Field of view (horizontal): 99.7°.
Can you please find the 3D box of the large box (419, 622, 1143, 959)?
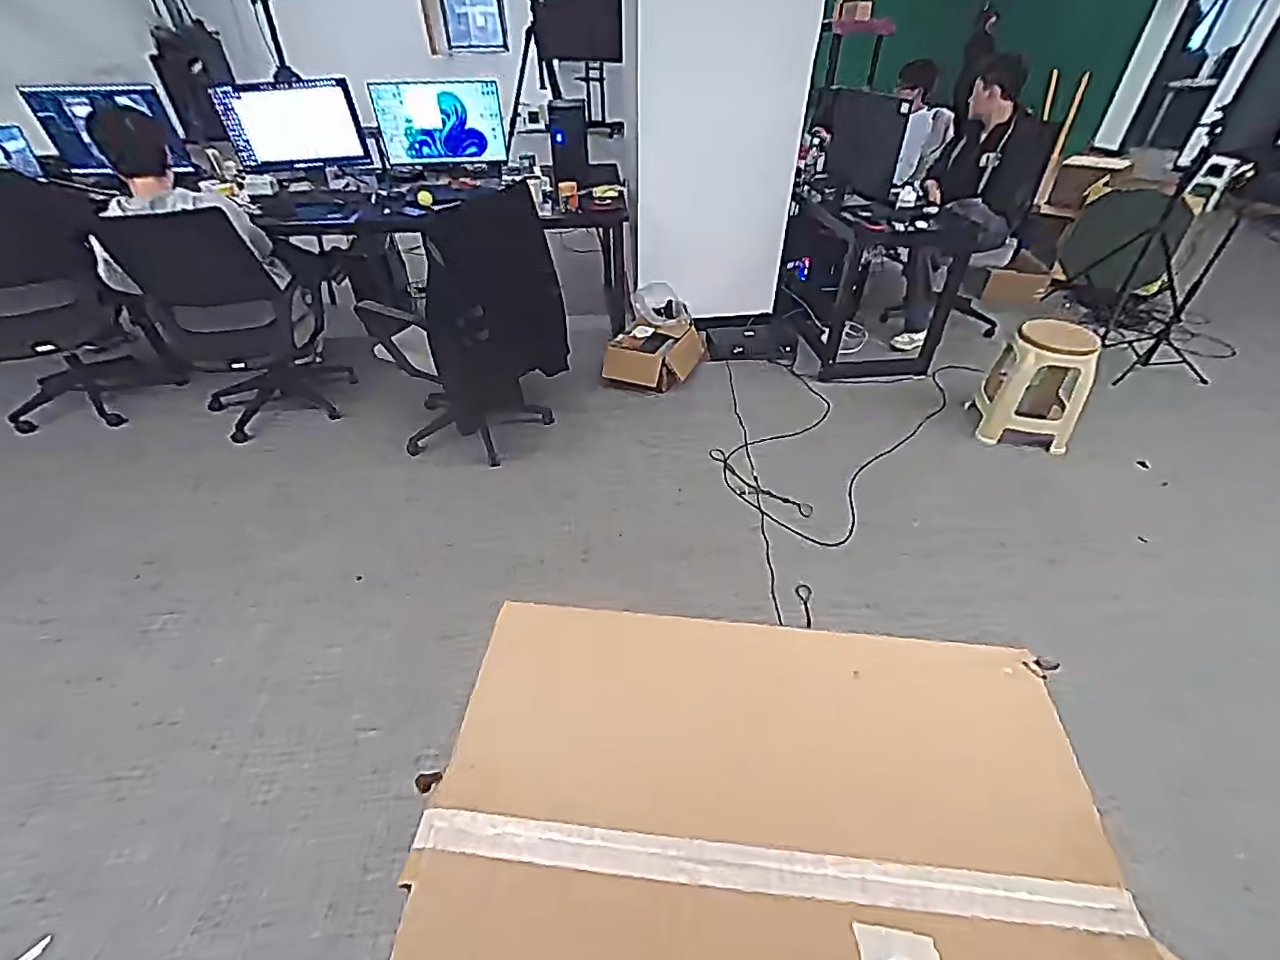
[{"bbox_3d":[0.078,0.338,0.430,0.408,0.320,0.320,4,48,4],"label":"large box"}]
